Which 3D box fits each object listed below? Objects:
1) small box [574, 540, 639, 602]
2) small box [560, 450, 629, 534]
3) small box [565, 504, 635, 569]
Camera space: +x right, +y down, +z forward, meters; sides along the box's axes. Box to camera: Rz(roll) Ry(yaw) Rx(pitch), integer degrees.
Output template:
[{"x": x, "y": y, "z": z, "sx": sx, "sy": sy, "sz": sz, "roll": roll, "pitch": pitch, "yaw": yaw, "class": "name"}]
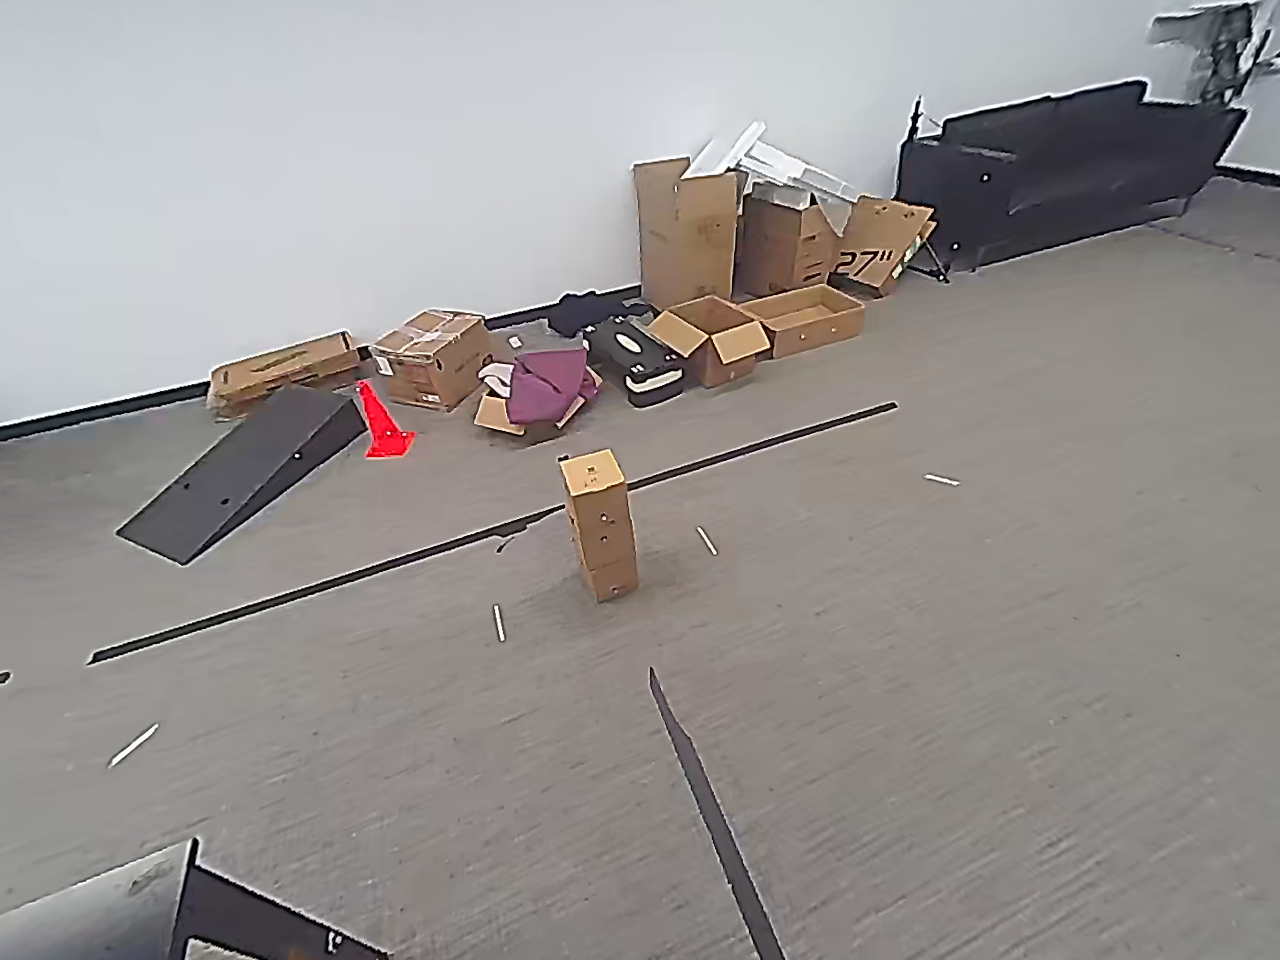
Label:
[{"x": -0.116, "y": 0.290, "z": 1.885, "sx": 0.168, "sy": 0.176, "sz": 0.179, "roll": -21, "pitch": 44, "yaw": -16, "class": "small box"}, {"x": -0.140, "y": 0.038, "z": 1.673, "sx": 0.168, "sy": 0.176, "sz": 0.179, "roll": -16, "pitch": 42, "yaw": -11, "class": "small box"}, {"x": -0.129, "y": 0.165, "z": 1.778, "sx": 0.179, "sy": 0.176, "sz": 0.168, "roll": -18, "pitch": 42, "yaw": -14, "class": "small box"}]
